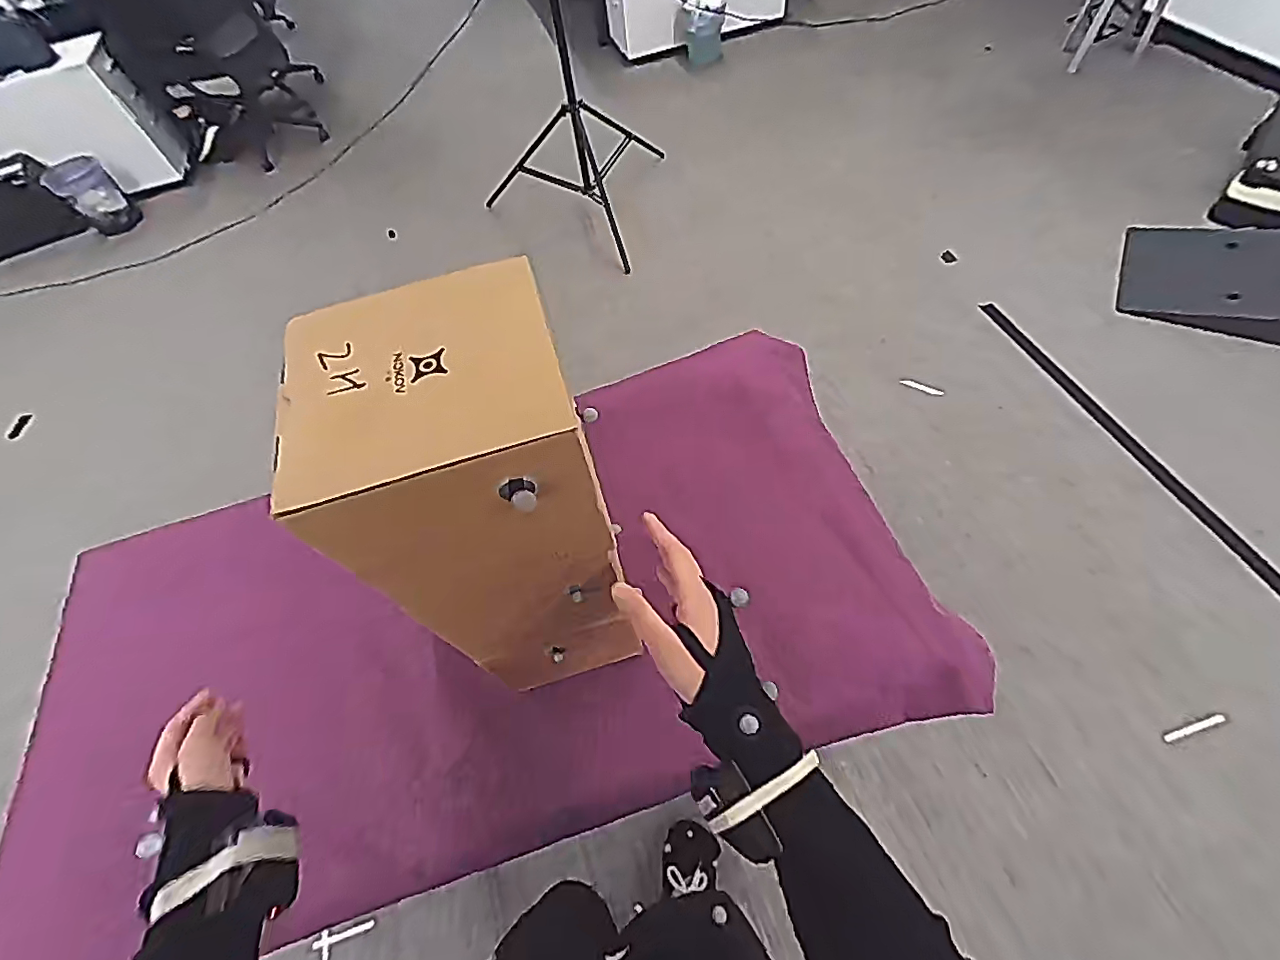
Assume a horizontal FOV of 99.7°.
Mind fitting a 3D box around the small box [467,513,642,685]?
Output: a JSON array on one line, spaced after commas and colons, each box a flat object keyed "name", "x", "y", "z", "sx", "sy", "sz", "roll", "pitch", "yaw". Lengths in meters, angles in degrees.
[{"name": "small box", "x": -0.106, "y": 0.145, "z": 0.688, "sx": 0.179, "sy": 0.176, "sz": 0.168, "roll": -17, "pitch": 59, "yaw": -4}]

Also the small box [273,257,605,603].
[{"name": "small box", "x": -0.131, "y": -0.028, "z": 0.409, "sx": 0.179, "sy": 0.176, "sz": 0.168, "roll": -18, "pitch": 58, "yaw": -3}]
